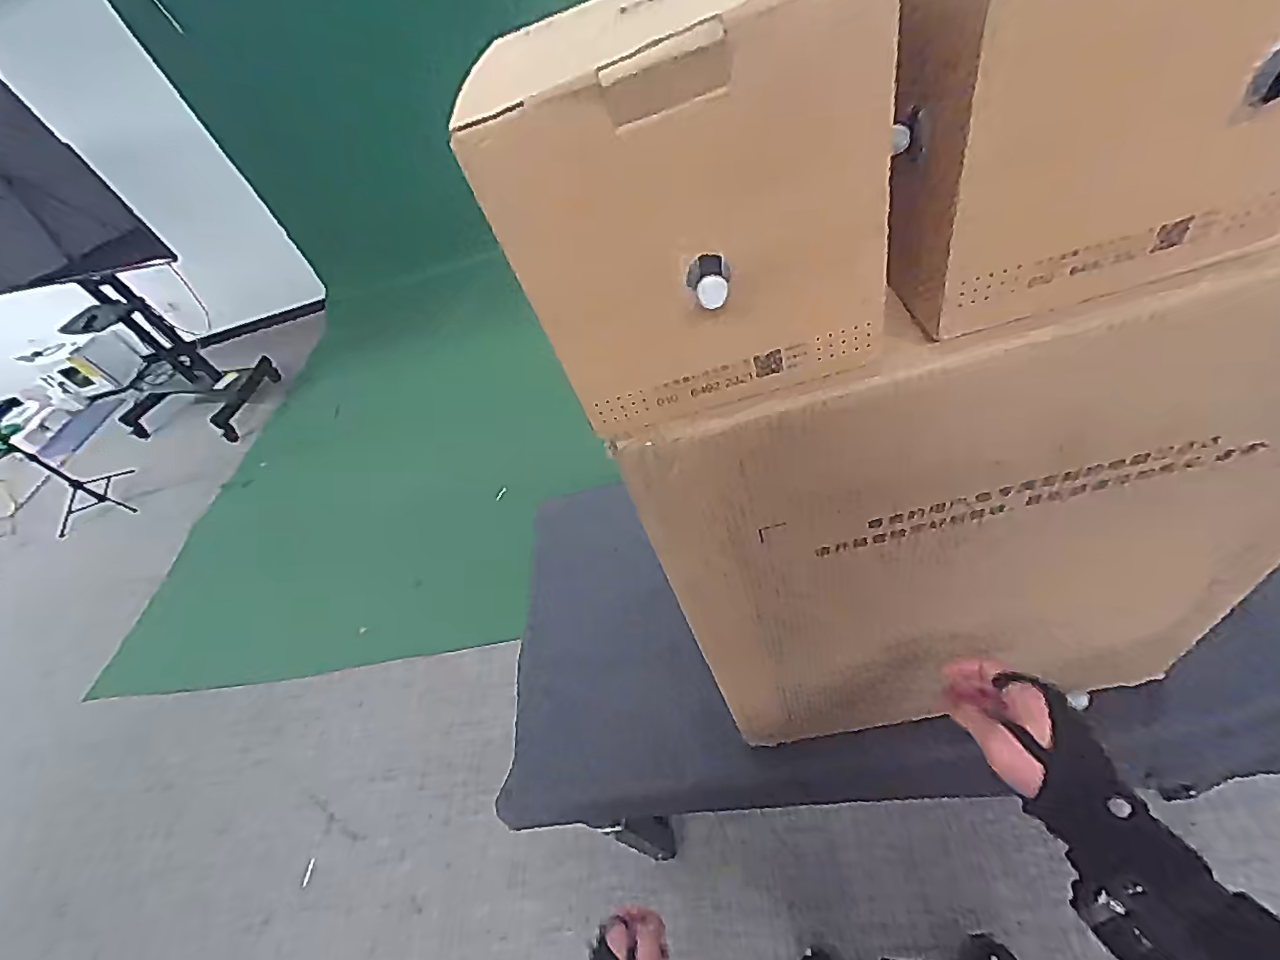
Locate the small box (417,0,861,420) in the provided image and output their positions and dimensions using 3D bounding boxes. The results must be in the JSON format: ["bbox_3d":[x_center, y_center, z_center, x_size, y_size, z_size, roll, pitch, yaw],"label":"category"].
[{"bbox_3d":[0.013,-0.152,0.296,0.168,0.176,0.179,-15,48,10],"label":"small box"}]
